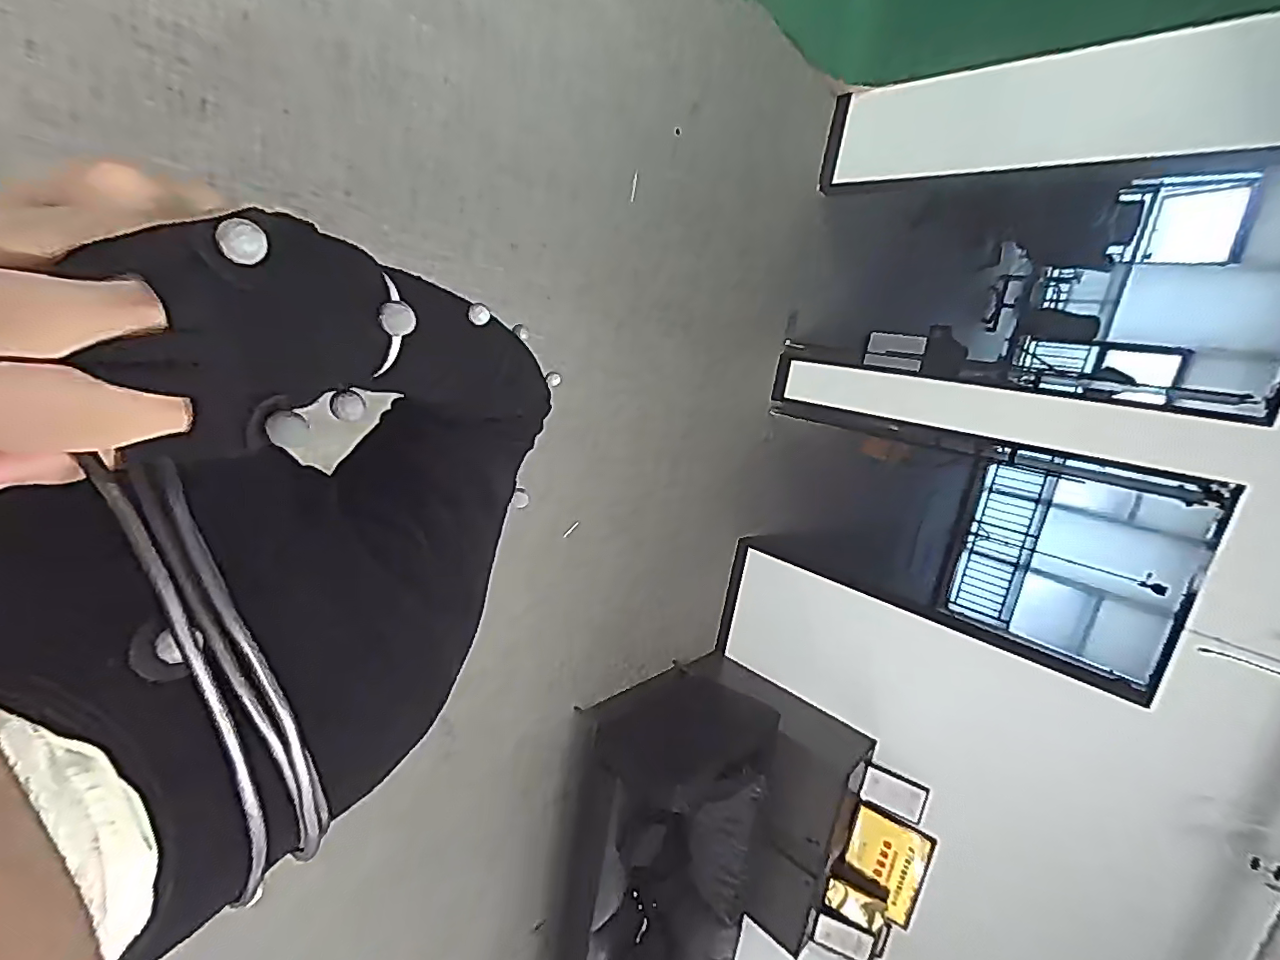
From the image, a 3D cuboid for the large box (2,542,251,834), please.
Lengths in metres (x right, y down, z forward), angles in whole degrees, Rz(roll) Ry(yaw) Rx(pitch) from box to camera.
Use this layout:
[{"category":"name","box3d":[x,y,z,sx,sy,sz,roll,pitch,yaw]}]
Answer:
[{"category":"large box","box3d":[-1.028,0.369,1.081,0.320,0.320,0.408,4,103,-50]}]
